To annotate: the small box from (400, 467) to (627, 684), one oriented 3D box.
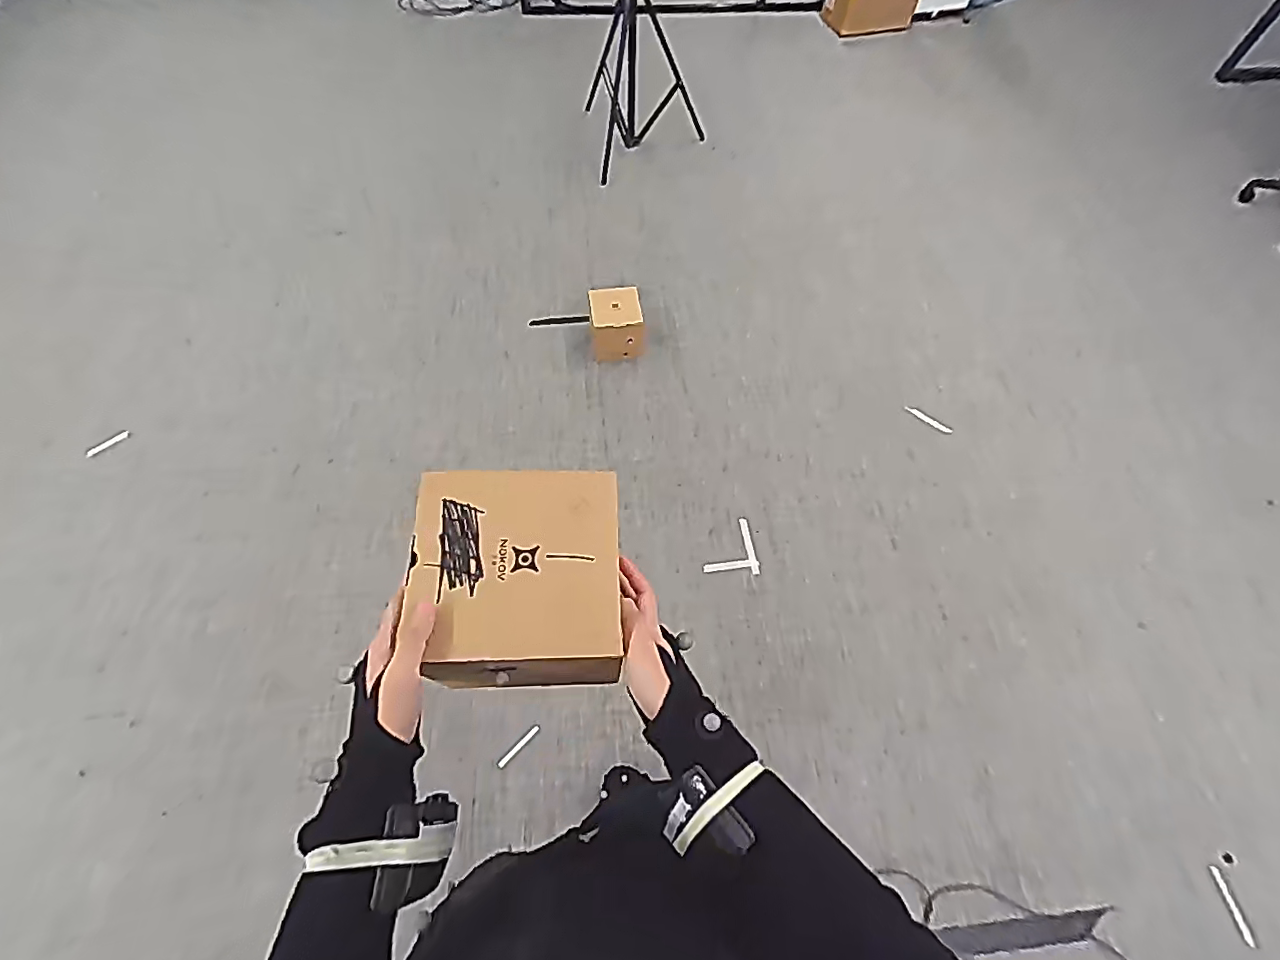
[{"bbox_3d":[-0.103,0.099,0.521,0.179,0.176,0.168,-1,63,-4],"label":"small box"}]
